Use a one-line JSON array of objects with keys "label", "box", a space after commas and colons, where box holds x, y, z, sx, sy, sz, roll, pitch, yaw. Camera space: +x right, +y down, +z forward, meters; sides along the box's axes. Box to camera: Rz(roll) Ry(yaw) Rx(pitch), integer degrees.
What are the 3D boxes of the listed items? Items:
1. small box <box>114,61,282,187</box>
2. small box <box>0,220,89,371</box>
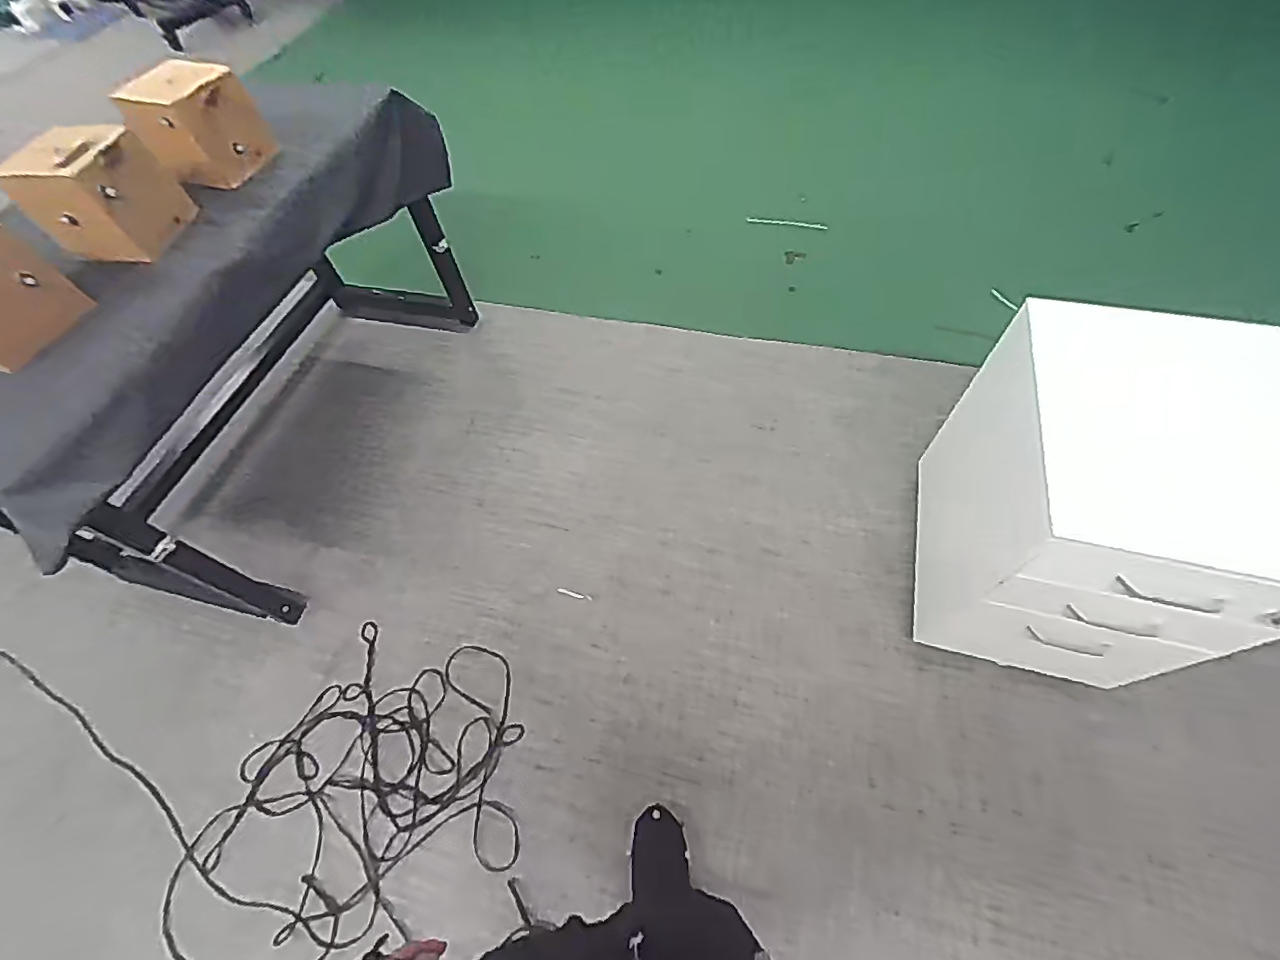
[{"label": "small box", "box": [-0.923, -0.751, 1.147, 0.179, 0.176, 0.168, 16, 61, 14]}, {"label": "small box", "box": [-1.076, -0.308, 0.883, 0.168, 0.176, 0.179, 14, 61, 15]}]
